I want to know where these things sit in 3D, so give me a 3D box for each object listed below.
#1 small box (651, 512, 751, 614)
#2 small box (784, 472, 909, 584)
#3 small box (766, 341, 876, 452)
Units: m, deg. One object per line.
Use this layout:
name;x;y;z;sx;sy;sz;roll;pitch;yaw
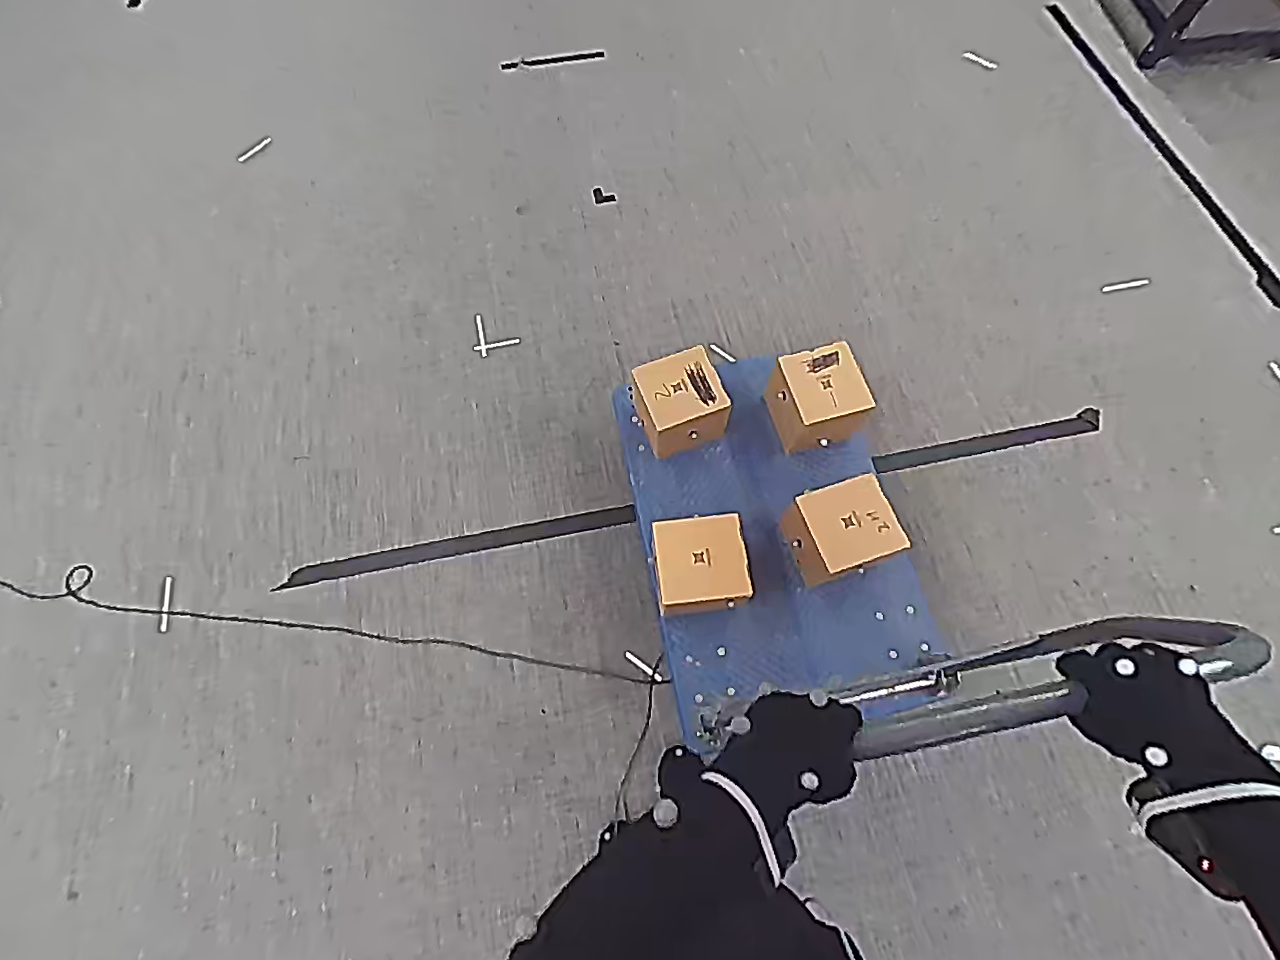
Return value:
small box;0.119;0.178;1.121;0.179;0.176;0.168;-6;69;-2
small box;0.418;0.108;1.138;0.179;0.176;0.168;-17;70;-5
small box;0.405;-0.188;1.249;0.168;0.176;0.179;-15;71;-3
